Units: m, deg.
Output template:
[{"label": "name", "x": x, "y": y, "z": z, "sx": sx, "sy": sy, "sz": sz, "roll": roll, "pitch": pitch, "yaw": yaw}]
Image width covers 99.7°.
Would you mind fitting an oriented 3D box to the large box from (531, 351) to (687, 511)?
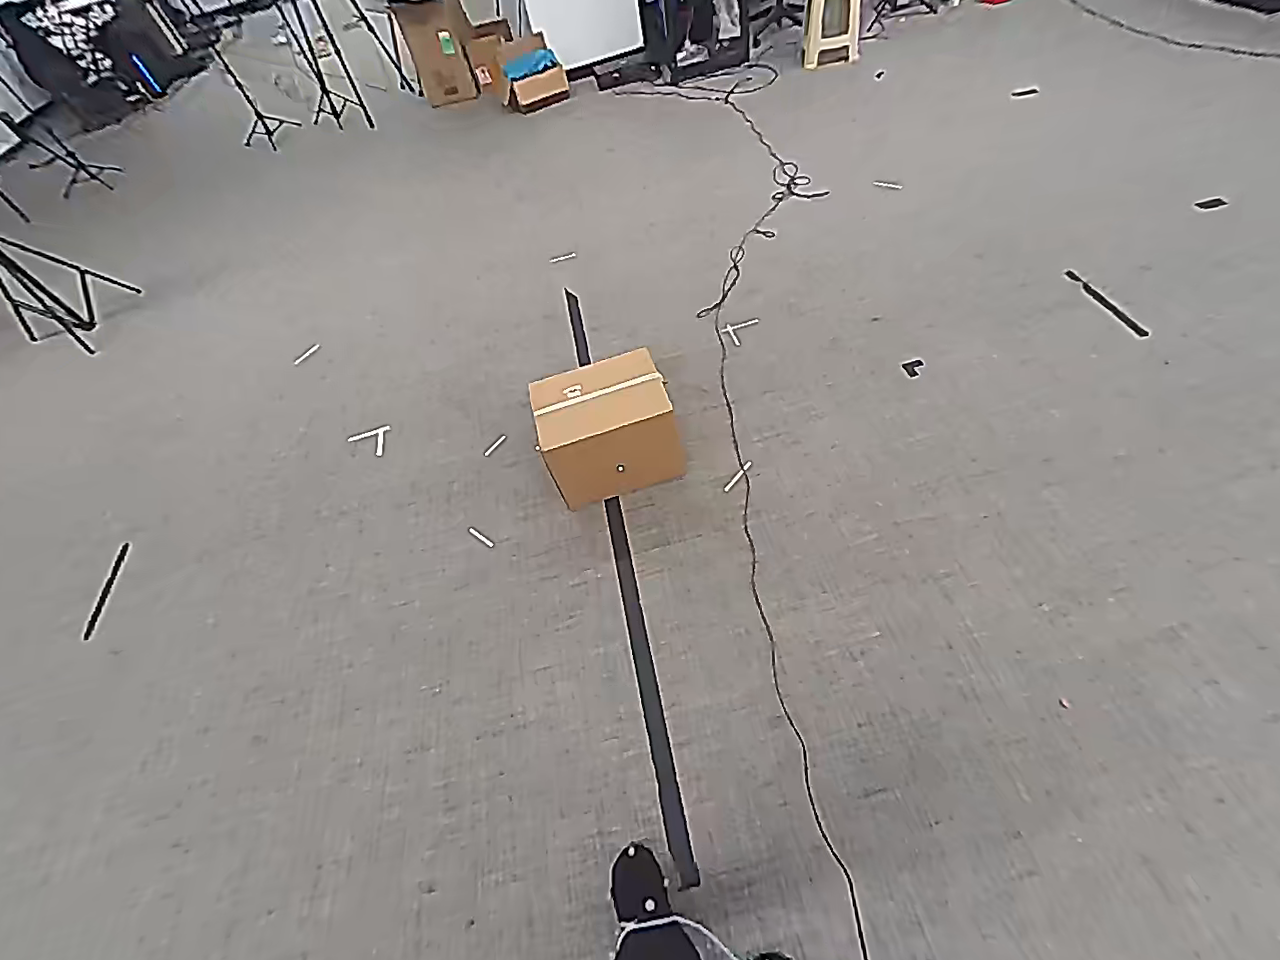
[{"label": "large box", "x": -0.096, "y": -0.153, "z": 1.758, "sx": 0.408, "sy": 0.320, "sz": 0.320, "roll": -18, "pitch": 50, "yaw": 0}]
